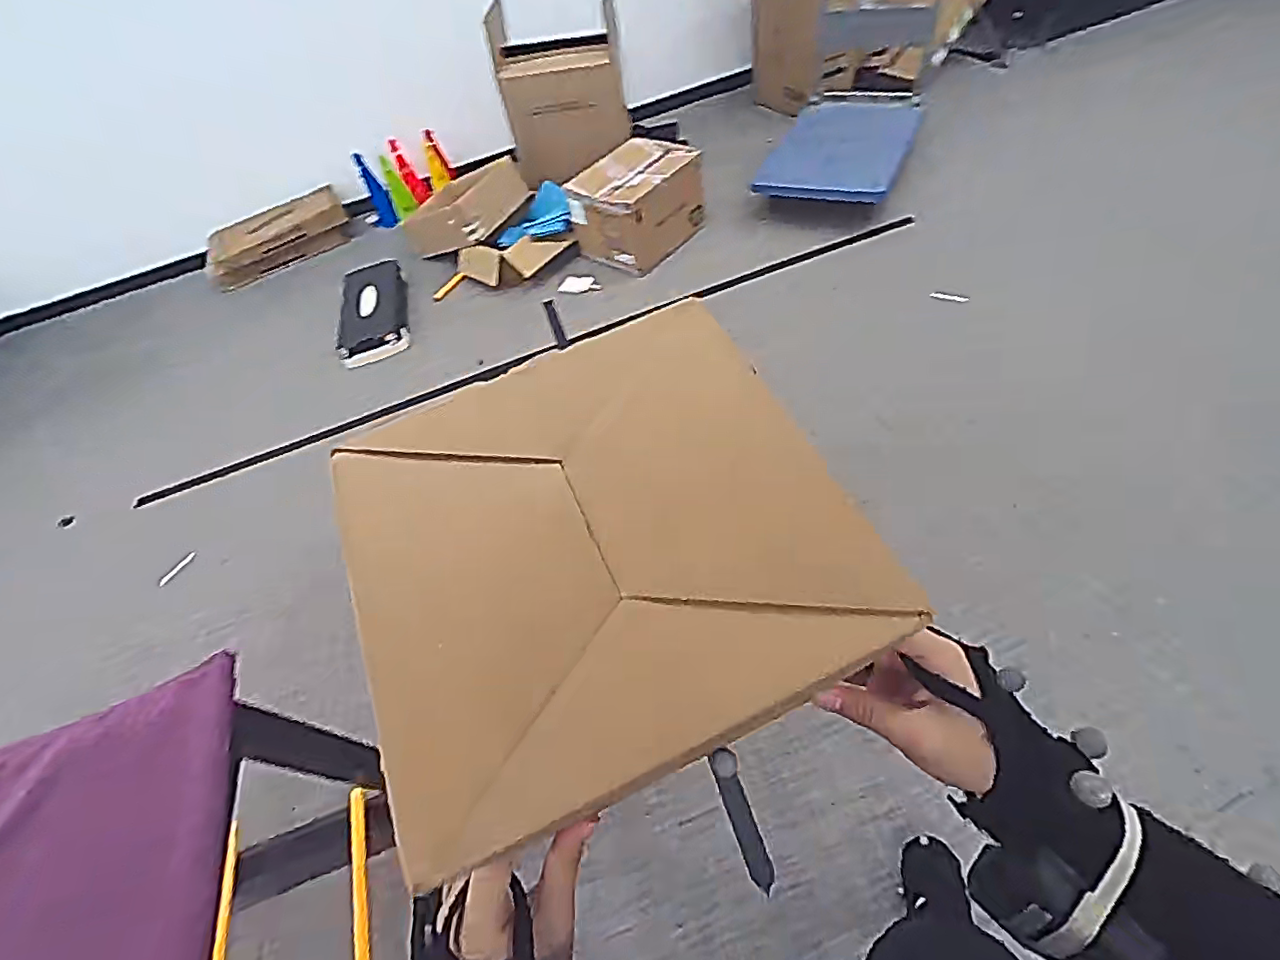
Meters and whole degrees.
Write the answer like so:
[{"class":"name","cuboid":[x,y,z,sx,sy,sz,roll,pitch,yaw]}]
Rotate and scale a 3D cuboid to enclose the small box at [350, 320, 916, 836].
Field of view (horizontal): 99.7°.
[{"class":"small box","cuboid":[-0.004,0.050,0.270,0.179,0.176,0.168,-24,62,-8]}]
